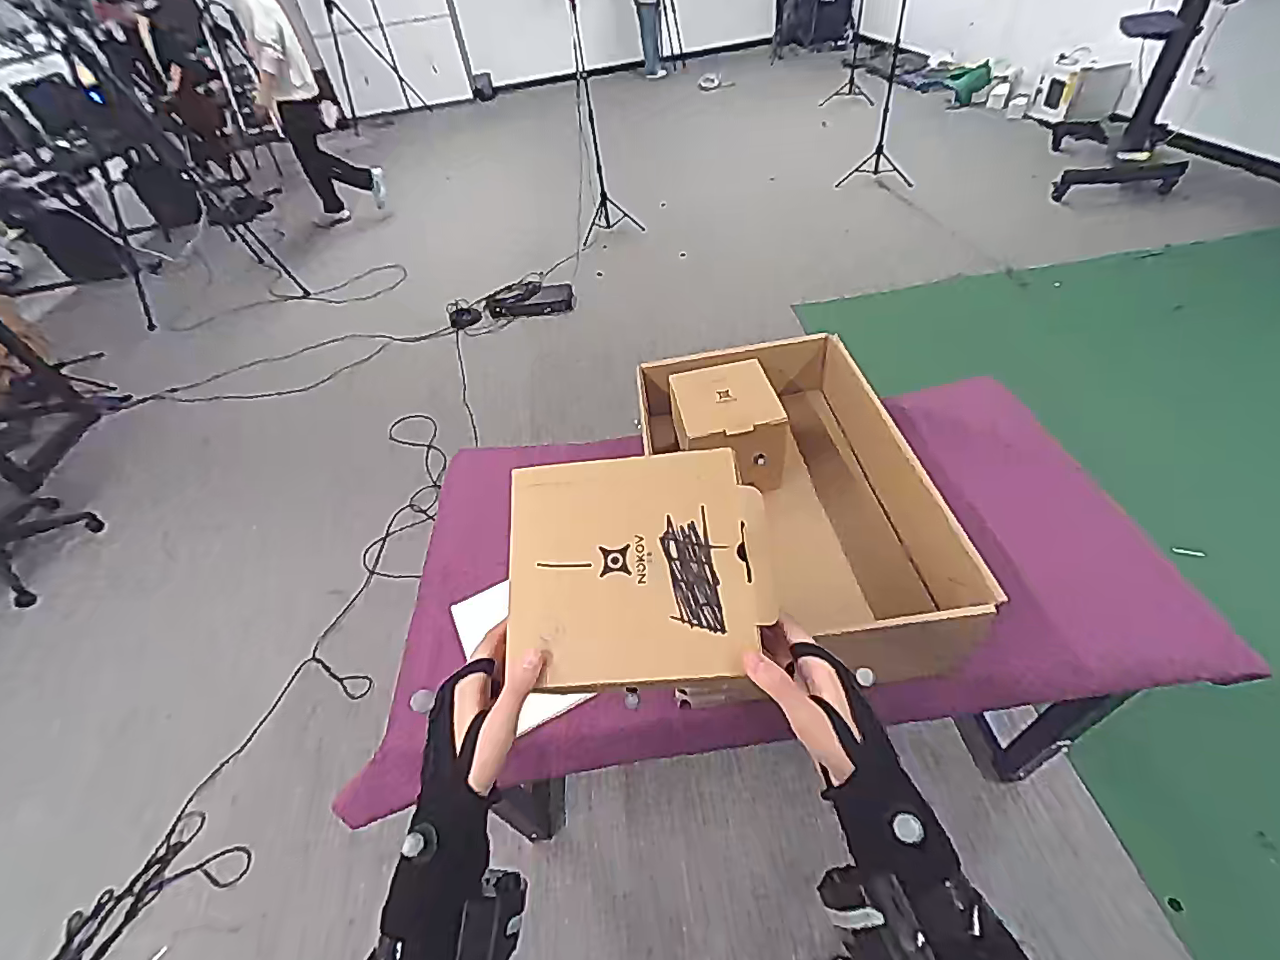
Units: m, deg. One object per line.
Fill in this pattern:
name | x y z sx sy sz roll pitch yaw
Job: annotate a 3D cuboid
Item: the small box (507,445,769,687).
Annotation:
small box | 0.001 0.084 0.458 0.179 0.176 0.168 -4 67 4
